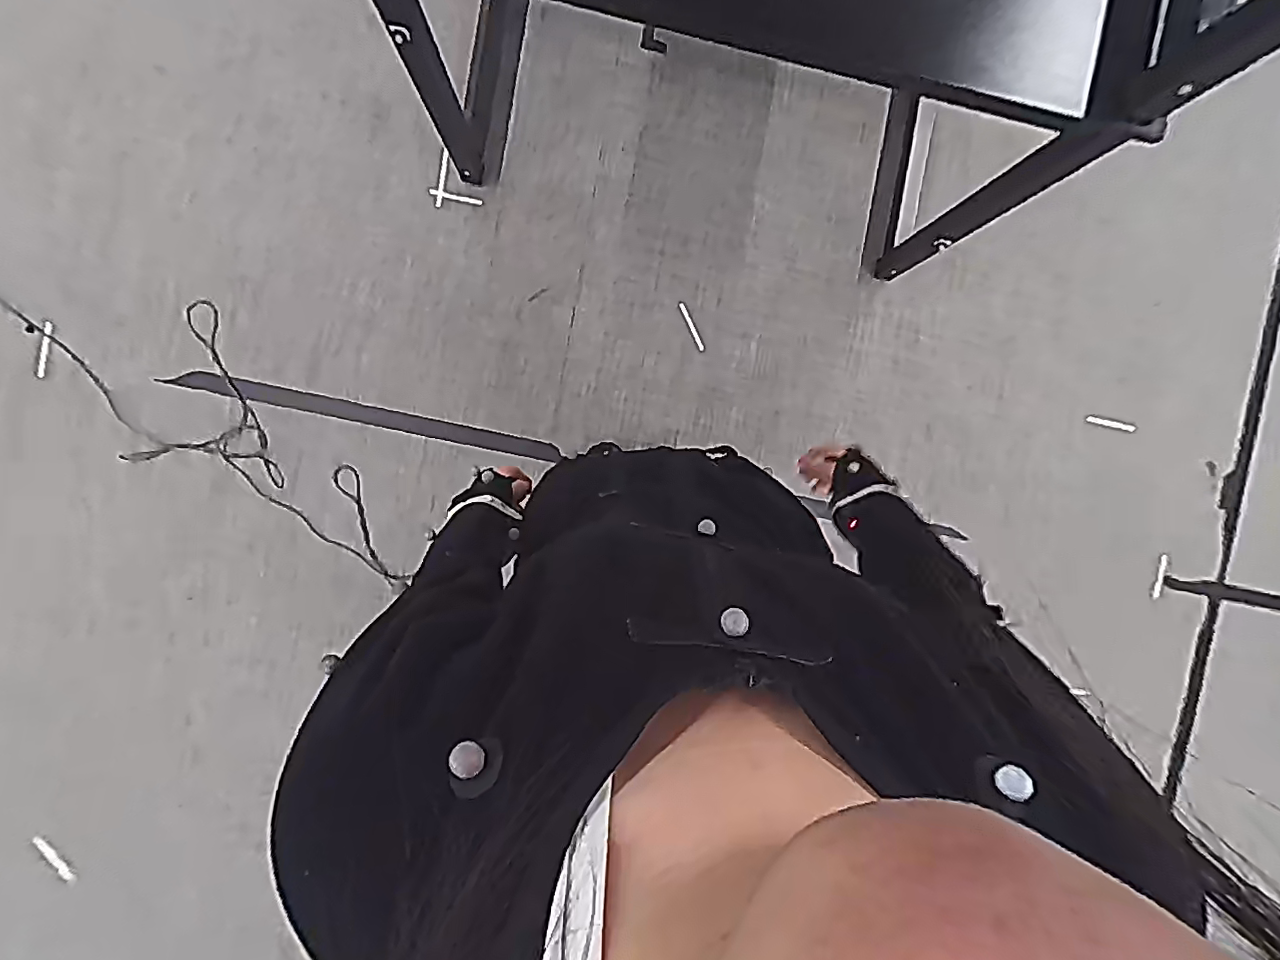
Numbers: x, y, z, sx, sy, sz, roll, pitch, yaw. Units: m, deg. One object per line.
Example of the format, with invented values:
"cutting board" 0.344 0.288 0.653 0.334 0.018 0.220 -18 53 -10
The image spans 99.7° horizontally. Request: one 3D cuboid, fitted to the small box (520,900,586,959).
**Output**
"small box" -0.230 1.259 1.439 0.168 0.176 0.179 1 93 -6
